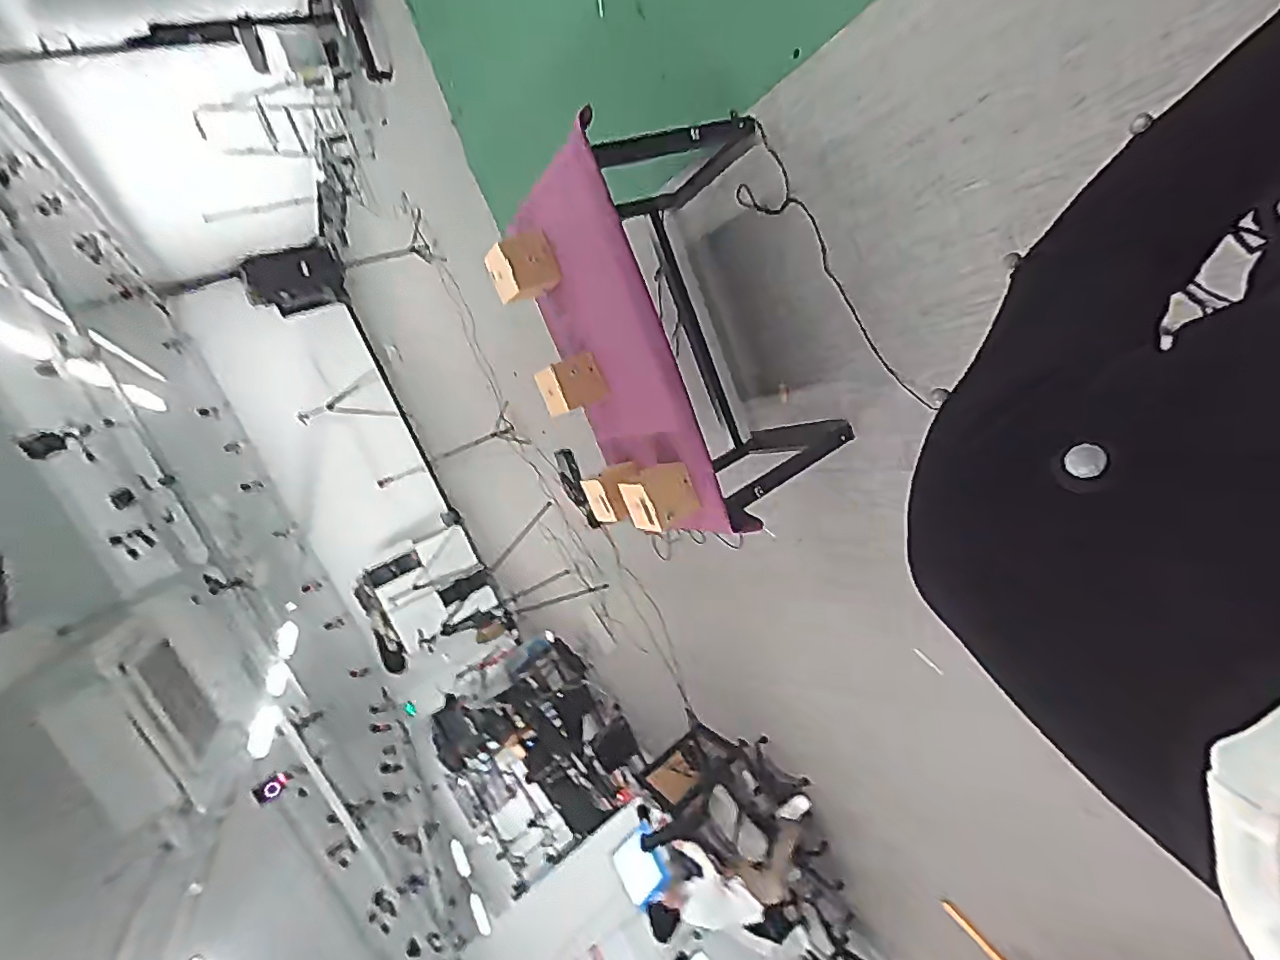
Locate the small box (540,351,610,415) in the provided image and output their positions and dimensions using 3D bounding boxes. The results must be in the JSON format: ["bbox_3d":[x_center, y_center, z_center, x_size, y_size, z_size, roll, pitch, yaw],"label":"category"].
[{"bbox_3d":[-0.228,-0.349,1.945,0.179,0.176,0.168,-2,113,61],"label":"small box"}]

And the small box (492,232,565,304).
[{"bbox_3d":[-0.377,-0.725,1.849,0.179,0.176,0.168,0,115,60],"label":"small box"}]

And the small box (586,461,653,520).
[{"bbox_3d":[-0.070,0.037,2.022,0.179,0.176,0.168,-4,111,62],"label":"small box"}]
